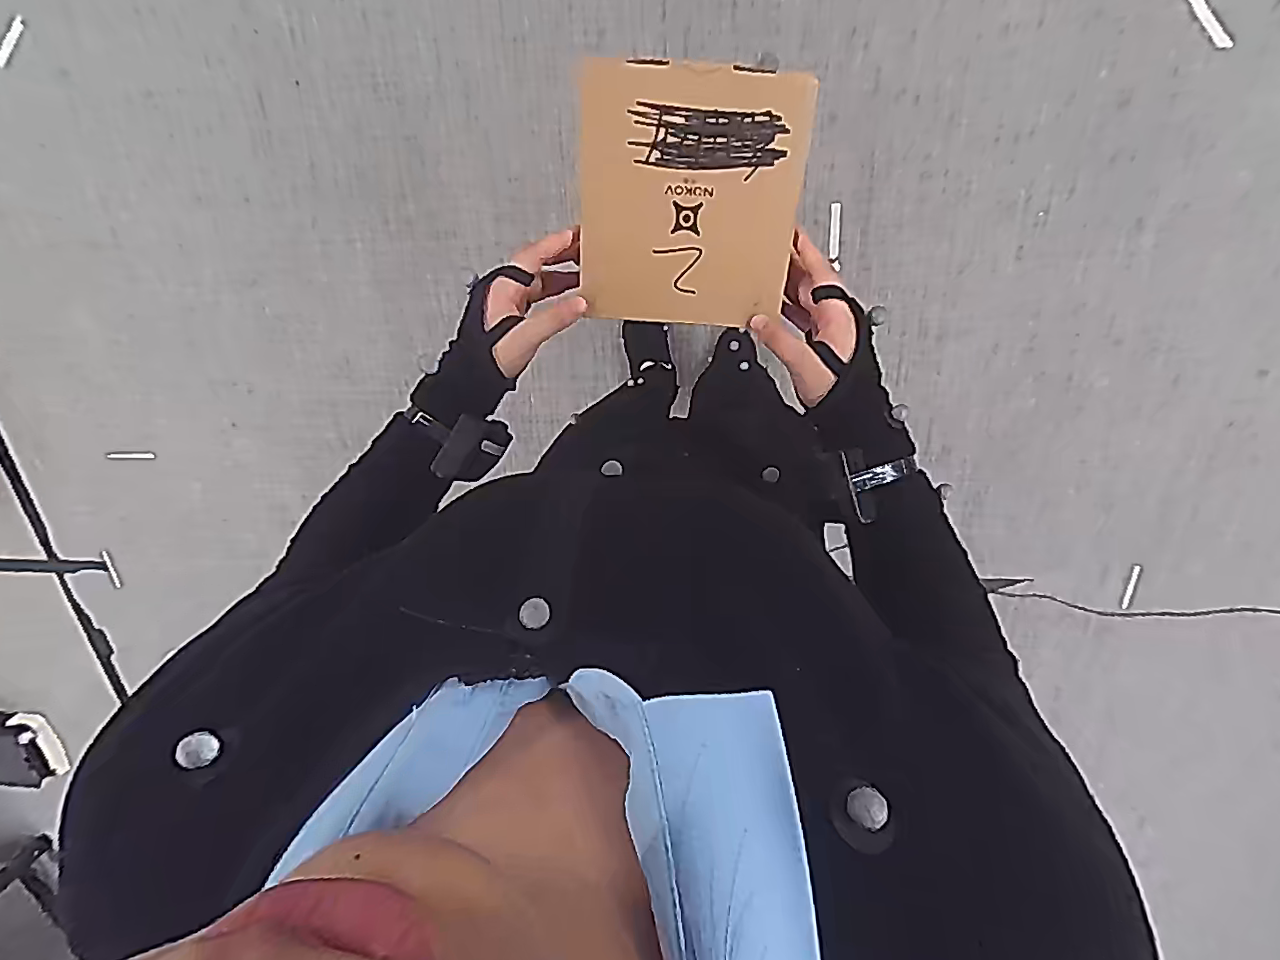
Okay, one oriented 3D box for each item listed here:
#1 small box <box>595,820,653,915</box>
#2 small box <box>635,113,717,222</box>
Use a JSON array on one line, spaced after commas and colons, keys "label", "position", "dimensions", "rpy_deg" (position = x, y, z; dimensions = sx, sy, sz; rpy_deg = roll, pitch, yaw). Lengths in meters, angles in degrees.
[{"label": "small box", "position": [-0.047, 1.202, 1.682], "dimensions": [0.168, 0.176, 0.179], "rpy_deg": [2, 110, 3]}, {"label": "small box", "position": [0.078, -0.670, 1.176], "dimensions": [0.168, 0.176, 0.179], "rpy_deg": [-2, 111, 5]}]
